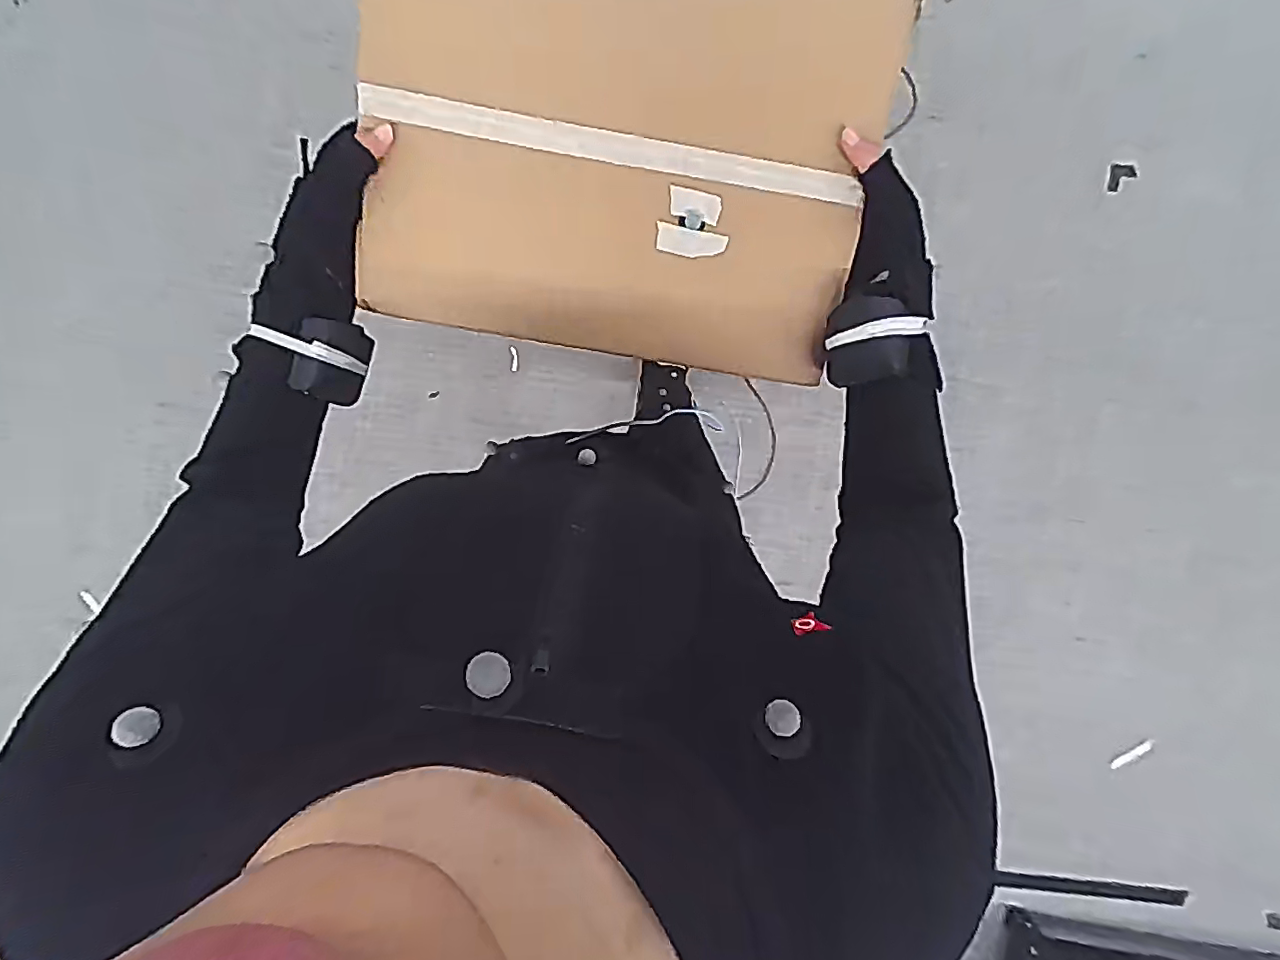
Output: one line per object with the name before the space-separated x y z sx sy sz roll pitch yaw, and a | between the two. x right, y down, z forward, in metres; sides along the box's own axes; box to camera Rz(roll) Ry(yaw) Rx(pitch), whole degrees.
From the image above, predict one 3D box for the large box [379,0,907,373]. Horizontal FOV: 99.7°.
large box | -0.015 -0.313 0.586 0.408 0.320 0.320 9 108 -4
